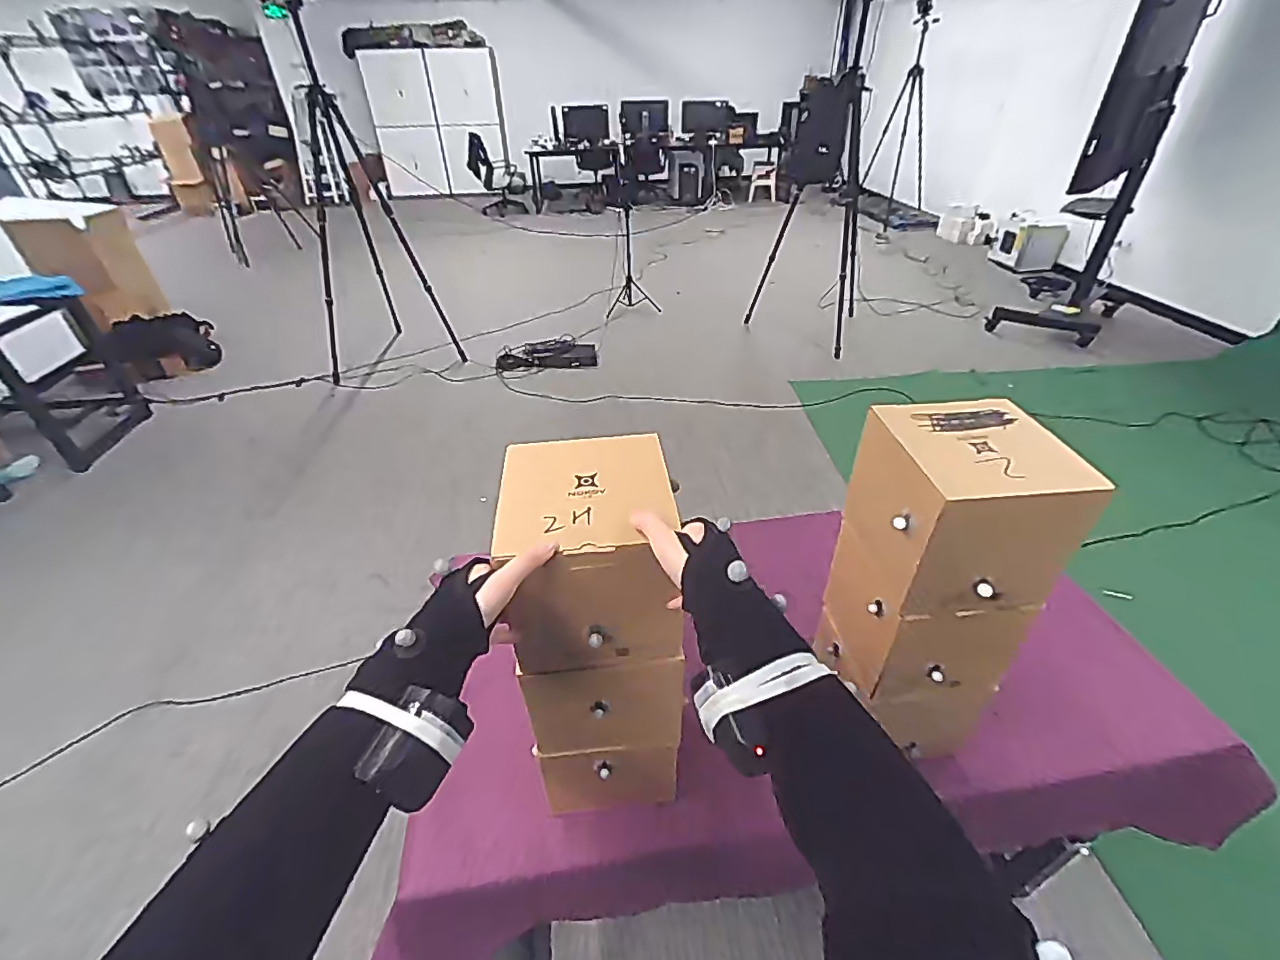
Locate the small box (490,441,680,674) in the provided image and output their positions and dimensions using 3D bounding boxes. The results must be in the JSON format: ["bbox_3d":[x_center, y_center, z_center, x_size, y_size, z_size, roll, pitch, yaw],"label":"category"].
[{"bbox_3d":[-0.054,0.078,0.576,0.168,0.176,0.179,-5,38,-4],"label":"small box"}]

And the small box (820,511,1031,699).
[{"bbox_3d":[0.357,0.163,0.722,0.168,0.176,0.179,-5,37,-4],"label":"small box"}]

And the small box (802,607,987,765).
[{"bbox_3d":[0.363,0.301,0.811,0.179,0.176,0.168,-4,36,-5],"label":"small box"}]

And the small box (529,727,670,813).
[{"bbox_3d":[-0.053,0.346,0.765,0.179,0.176,0.168,-4,37,-4],"label":"small box"}]

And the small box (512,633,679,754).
[{"bbox_3d":[-0.050,0.213,0.670,0.179,0.176,0.168,-5,37,-3],"label":"small box"}]
